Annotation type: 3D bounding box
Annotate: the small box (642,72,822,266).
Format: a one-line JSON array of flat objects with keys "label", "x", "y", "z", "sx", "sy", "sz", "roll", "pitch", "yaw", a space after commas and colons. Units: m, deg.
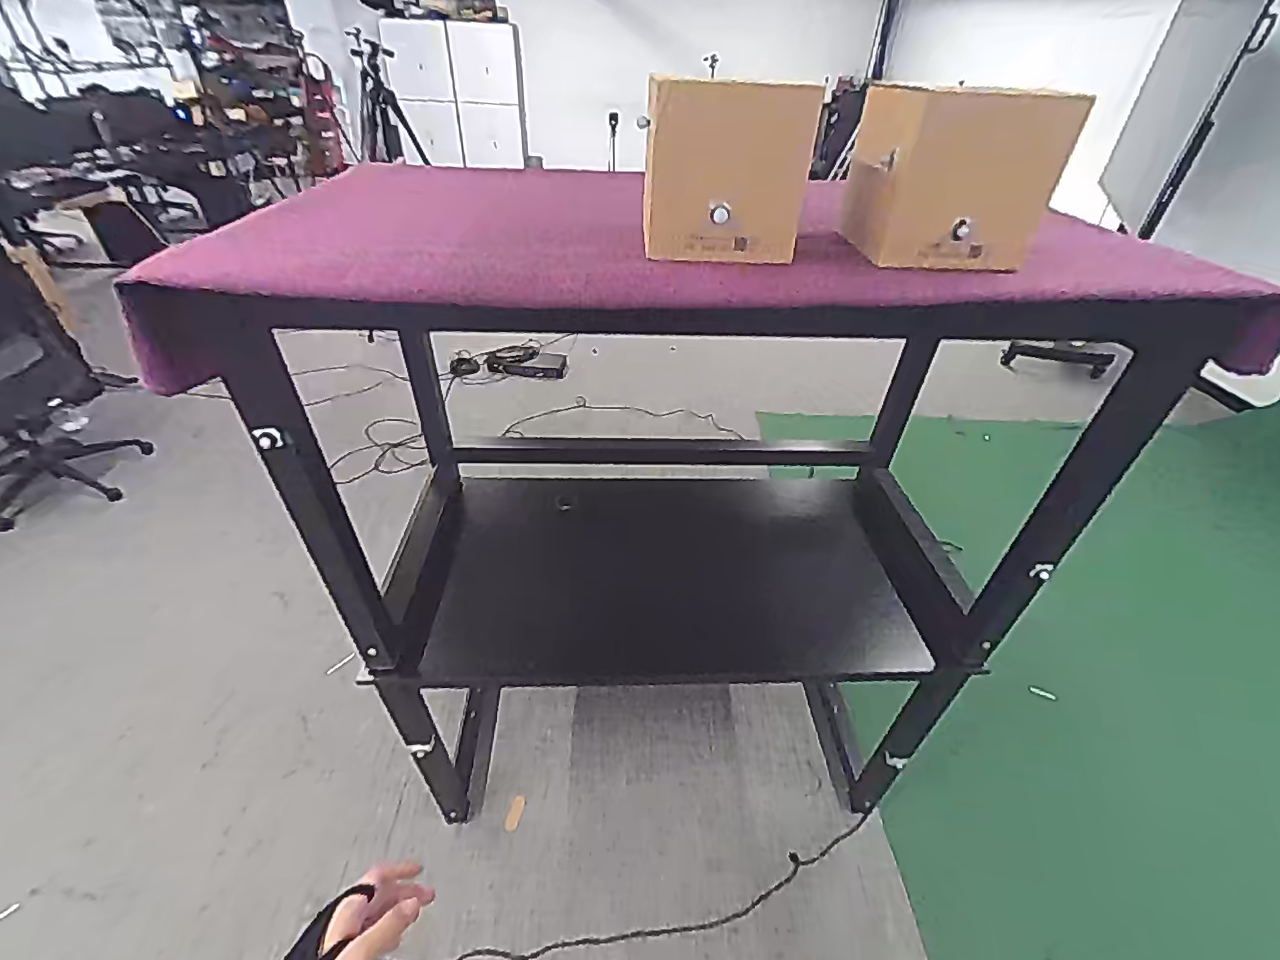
[{"label": "small box", "x": 0.089, "y": -0.361, "z": 0.627, "sx": 0.168, "sy": 0.176, "sz": 0.179, "roll": 1, "pitch": 38, "yaw": -2}]
